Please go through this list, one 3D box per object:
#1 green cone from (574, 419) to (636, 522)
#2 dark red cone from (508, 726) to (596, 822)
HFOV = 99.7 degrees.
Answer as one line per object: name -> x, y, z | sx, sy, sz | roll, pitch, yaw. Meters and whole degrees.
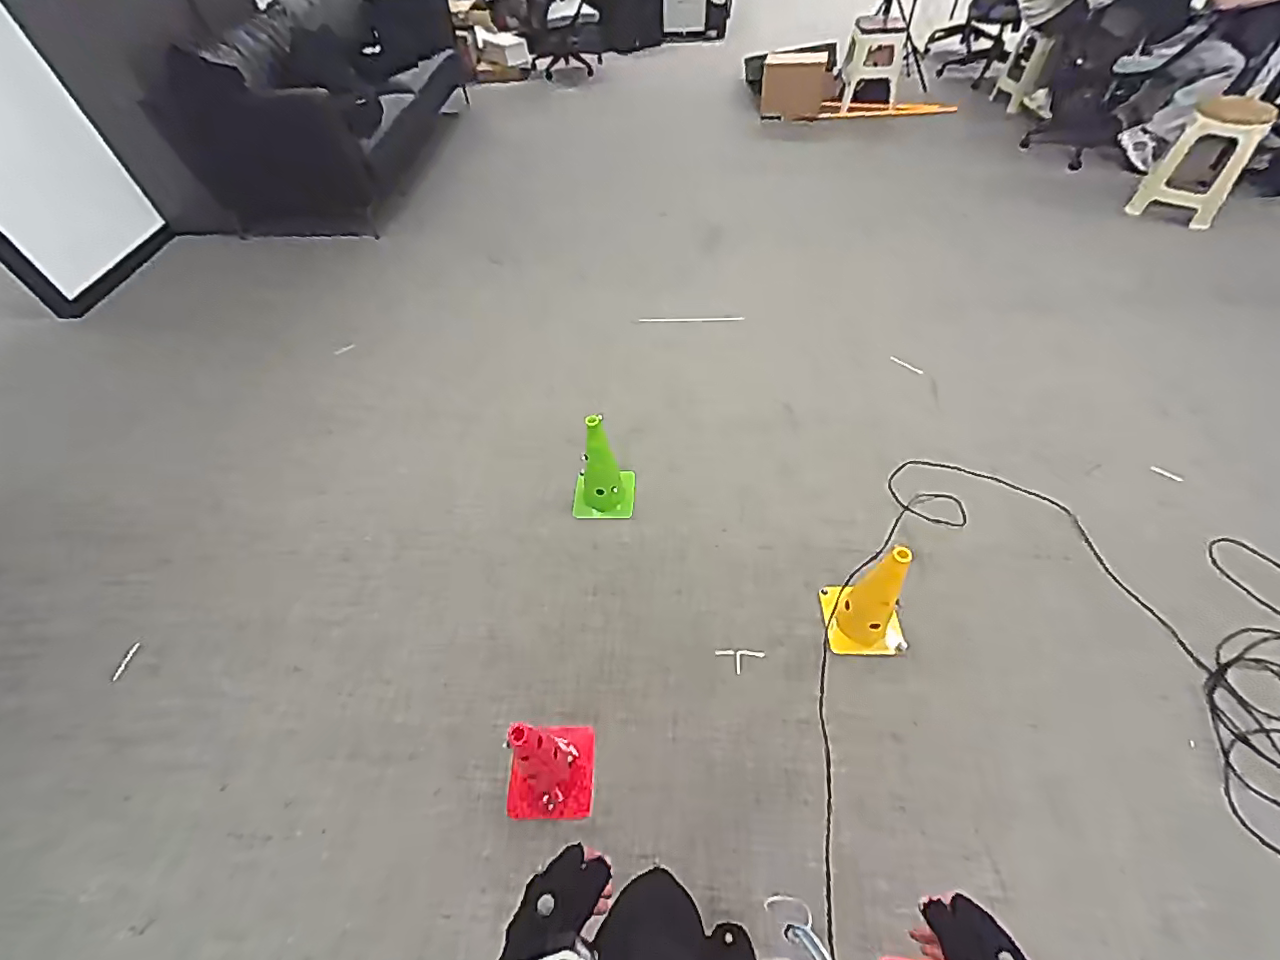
green cone -> -0.124, -0.048, 1.700 | 0.202, 0.368, 0.200 | 0, 52, 3
dark red cone -> -0.215, 0.596, 1.157 | 0.202, 0.394, 0.201 | -4, 52, 2
